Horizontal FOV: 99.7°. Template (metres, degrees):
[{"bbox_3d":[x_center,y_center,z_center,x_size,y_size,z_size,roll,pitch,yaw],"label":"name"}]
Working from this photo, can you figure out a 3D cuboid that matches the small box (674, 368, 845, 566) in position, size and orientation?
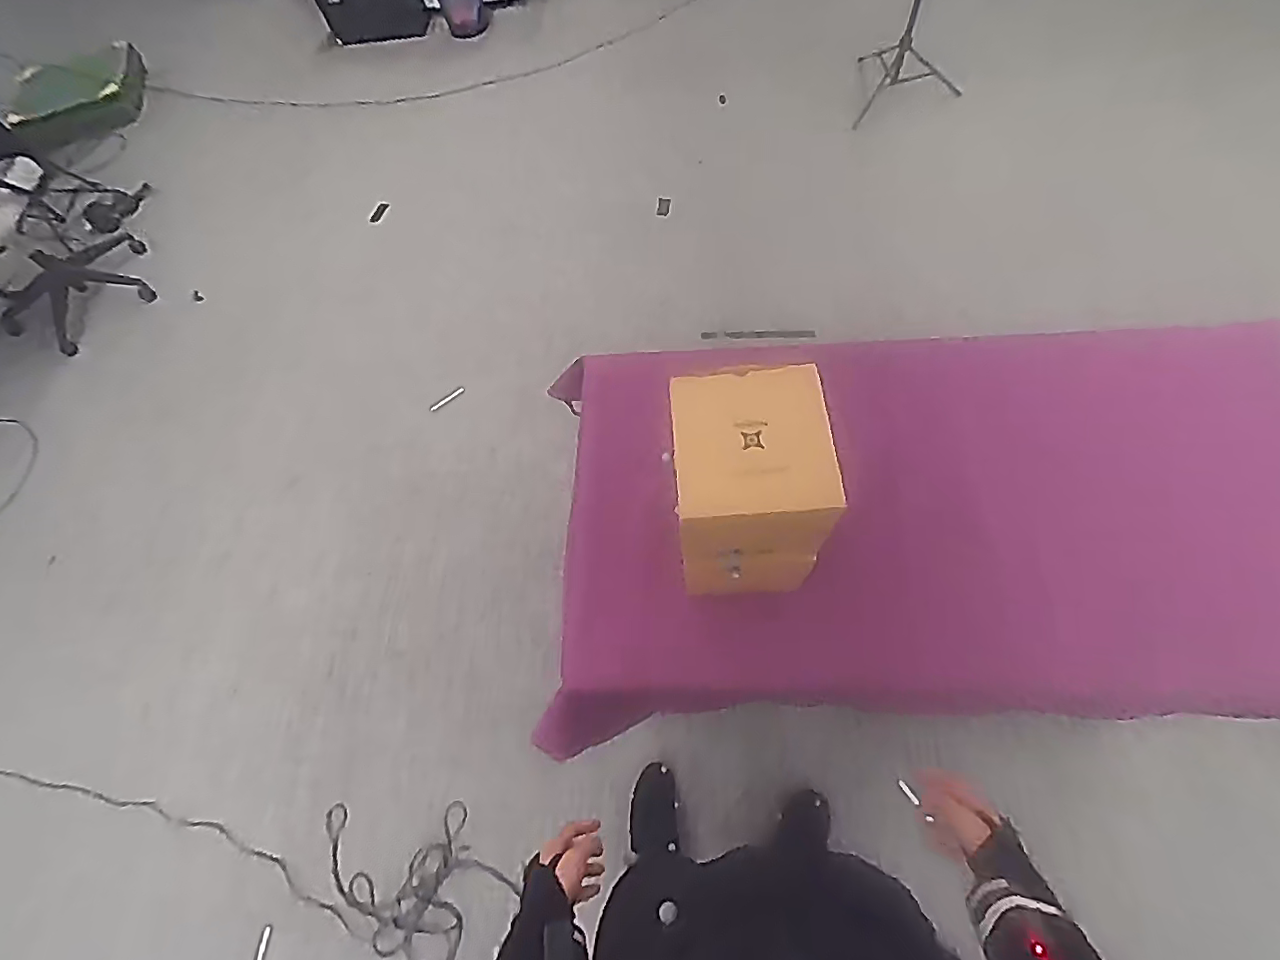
[{"bbox_3d":[0.127,-0.008,0.643,0.168,0.176,0.179,-4,65,5],"label":"small box"}]

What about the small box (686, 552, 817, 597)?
[{"bbox_3d":[0.149,0.064,0.788,0.168,0.176,0.179,-3,64,6],"label":"small box"}]
